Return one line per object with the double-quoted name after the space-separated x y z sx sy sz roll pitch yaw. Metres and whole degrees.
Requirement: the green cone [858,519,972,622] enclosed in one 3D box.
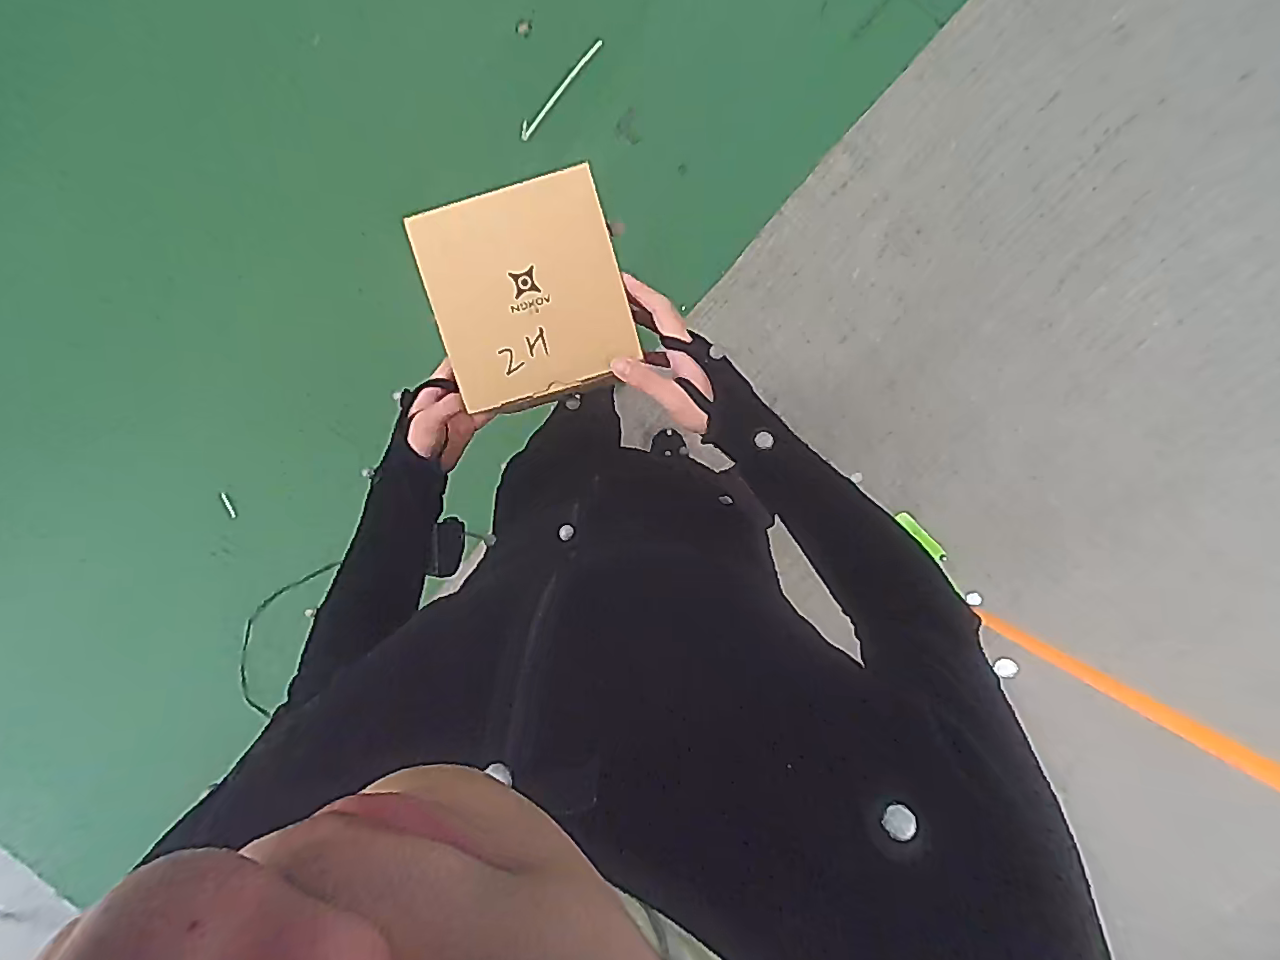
0.749 0.268 1.397 0.200 0.368 0.202 44 101 -3 "green cone"
